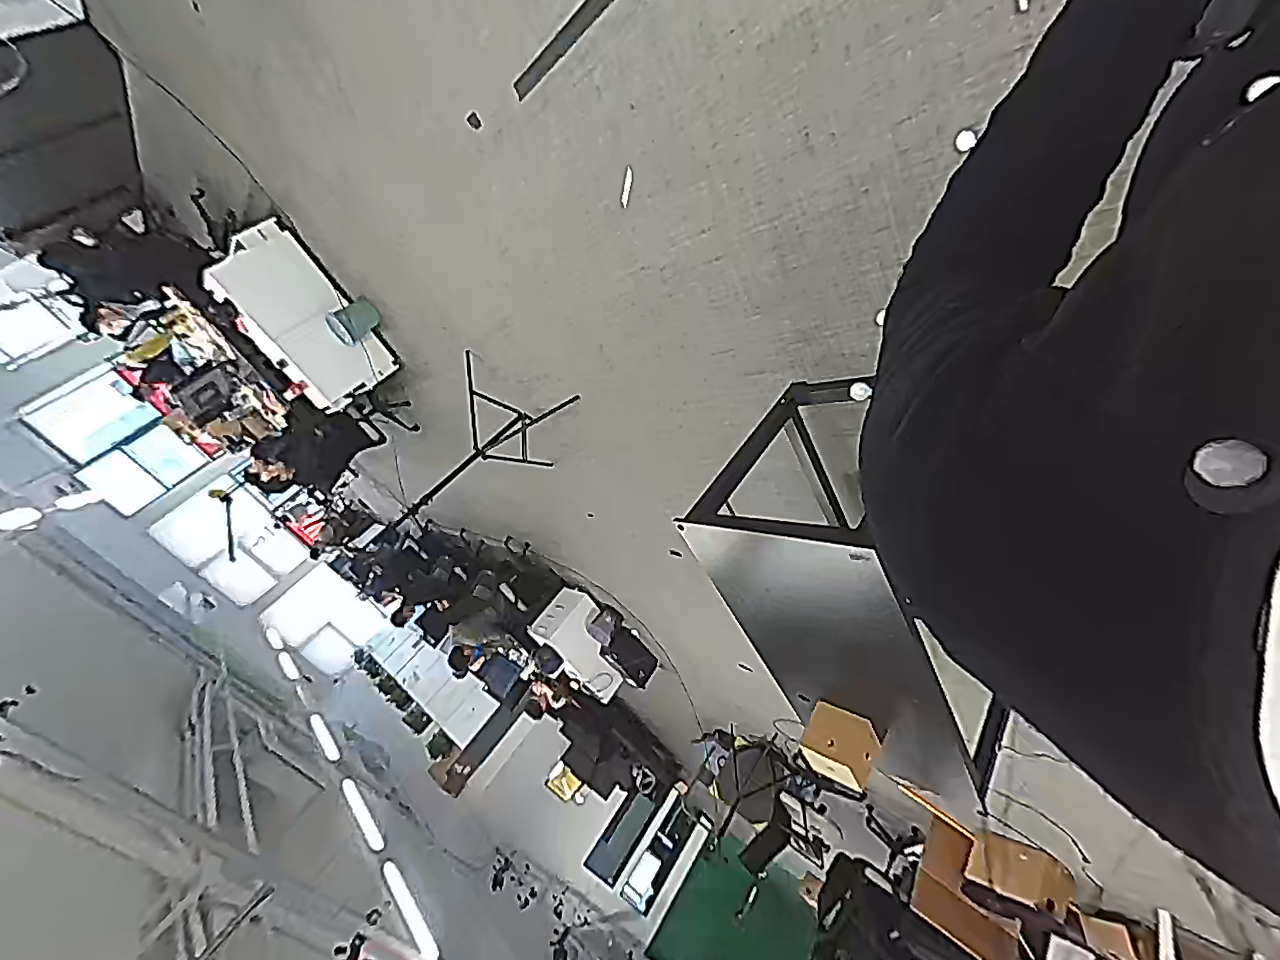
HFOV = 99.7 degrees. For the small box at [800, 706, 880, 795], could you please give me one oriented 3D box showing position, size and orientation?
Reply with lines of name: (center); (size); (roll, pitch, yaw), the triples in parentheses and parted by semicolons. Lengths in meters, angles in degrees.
small box: (0.652, 0.864, 1.743); (0.179, 0.176, 0.168); (6, 135, 48)
